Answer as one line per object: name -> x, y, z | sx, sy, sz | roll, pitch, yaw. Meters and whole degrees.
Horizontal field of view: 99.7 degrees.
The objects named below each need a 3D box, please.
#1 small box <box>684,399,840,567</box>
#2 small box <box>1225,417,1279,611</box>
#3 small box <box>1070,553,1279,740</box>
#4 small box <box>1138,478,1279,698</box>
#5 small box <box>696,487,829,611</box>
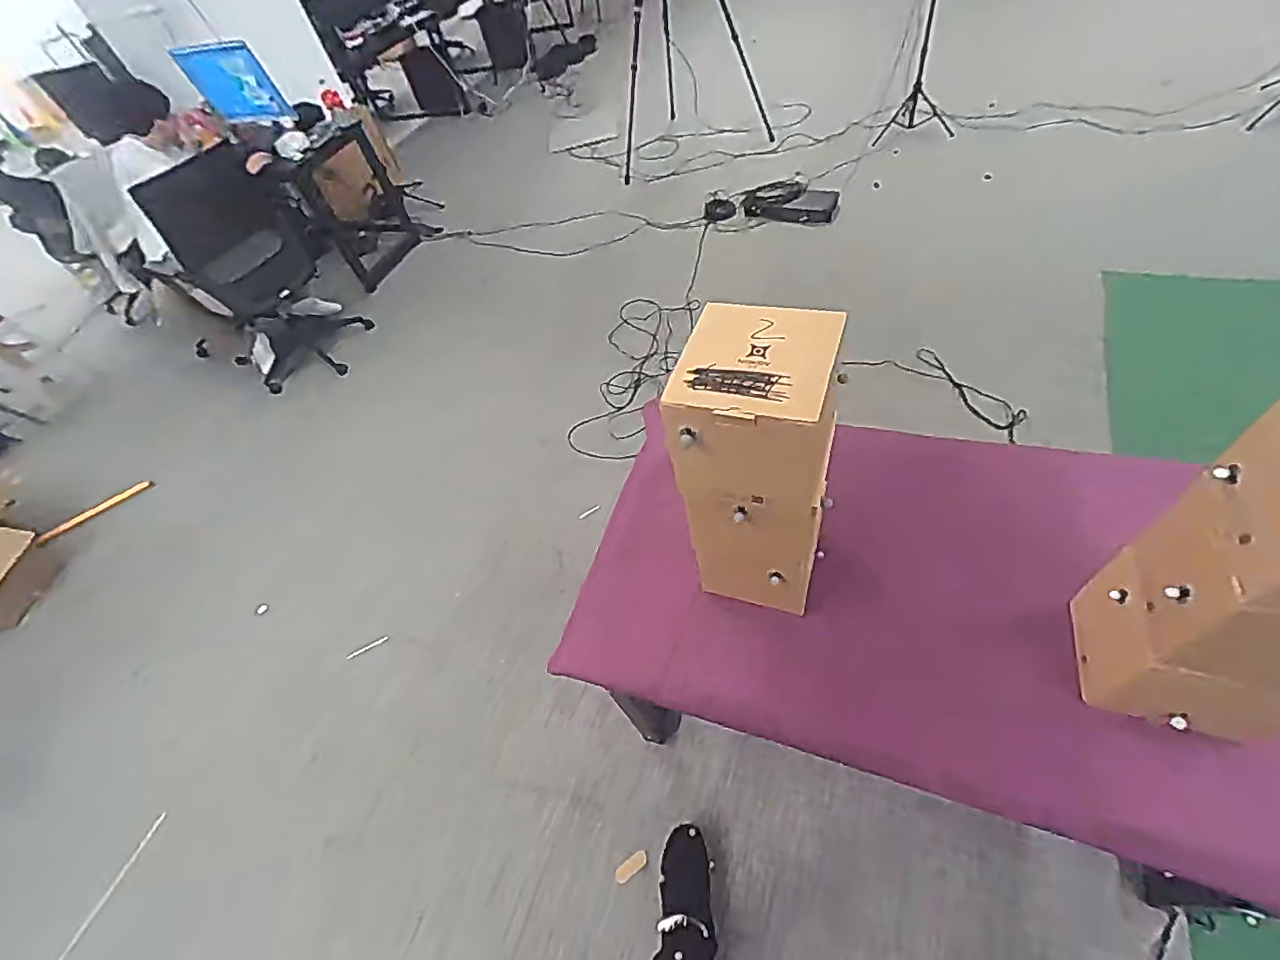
small box -> 0.178, 0.008, 0.784 | 0.179, 0.176, 0.168 | 11, 57, 20
small box -> 0.655, 0.024, 0.452 | 0.179, 0.176, 0.168 | 10, 57, 20
small box -> 0.709, 0.222, 0.708 | 0.179, 0.176, 0.168 | 10, 56, 19
small box -> 0.681, 0.123, 0.581 | 0.179, 0.176, 0.168 | 11, 57, 20
small box -> 0.207, 0.102, 0.912 | 0.179, 0.176, 0.168 | 11, 56, 20
